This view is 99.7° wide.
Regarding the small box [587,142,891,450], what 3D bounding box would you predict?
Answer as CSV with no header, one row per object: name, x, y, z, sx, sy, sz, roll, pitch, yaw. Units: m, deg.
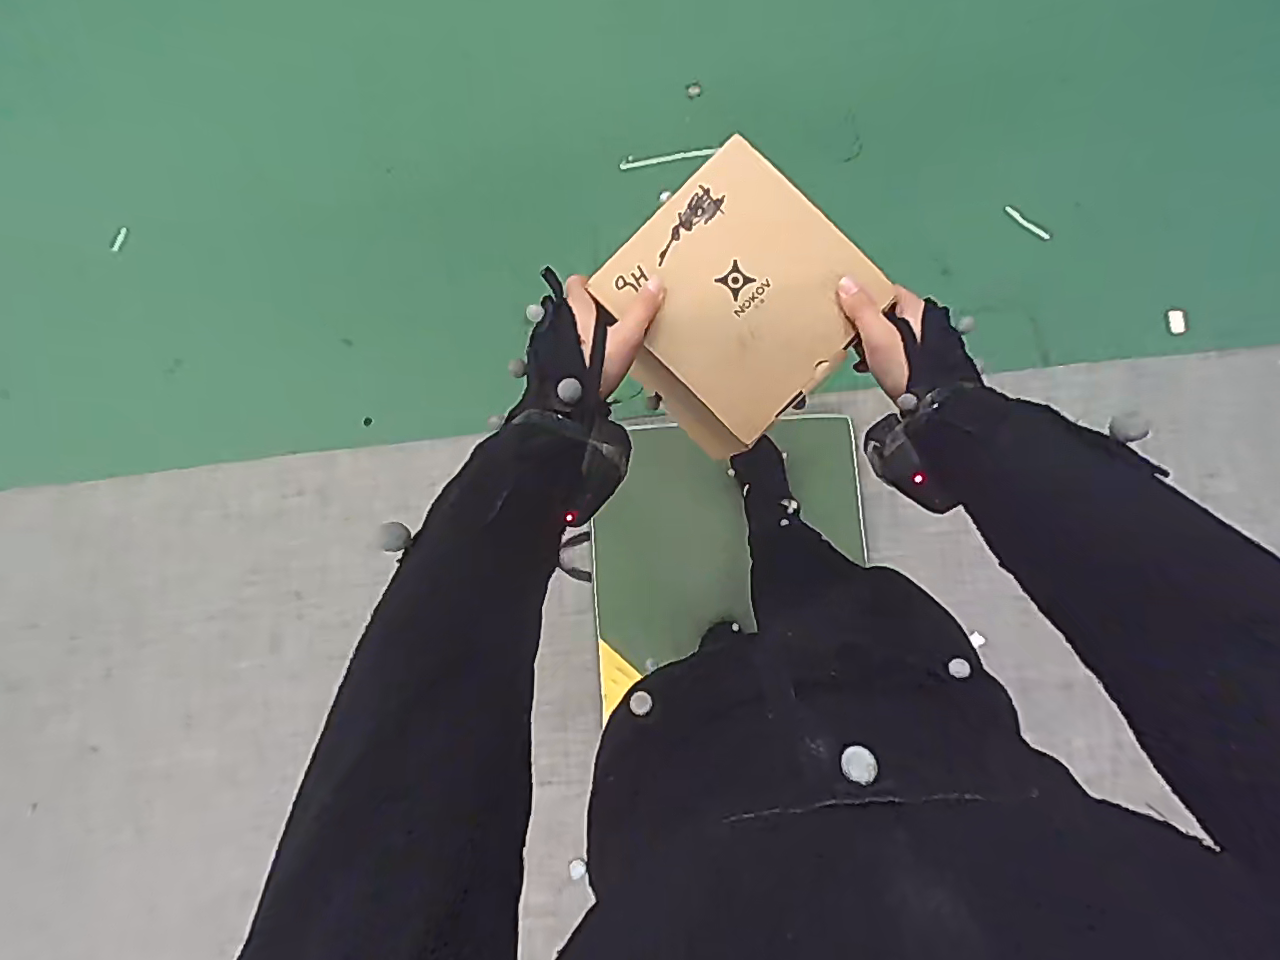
small box,0.075,-0.141,0.489,0.168,0.176,0.179,-45,90,-2
